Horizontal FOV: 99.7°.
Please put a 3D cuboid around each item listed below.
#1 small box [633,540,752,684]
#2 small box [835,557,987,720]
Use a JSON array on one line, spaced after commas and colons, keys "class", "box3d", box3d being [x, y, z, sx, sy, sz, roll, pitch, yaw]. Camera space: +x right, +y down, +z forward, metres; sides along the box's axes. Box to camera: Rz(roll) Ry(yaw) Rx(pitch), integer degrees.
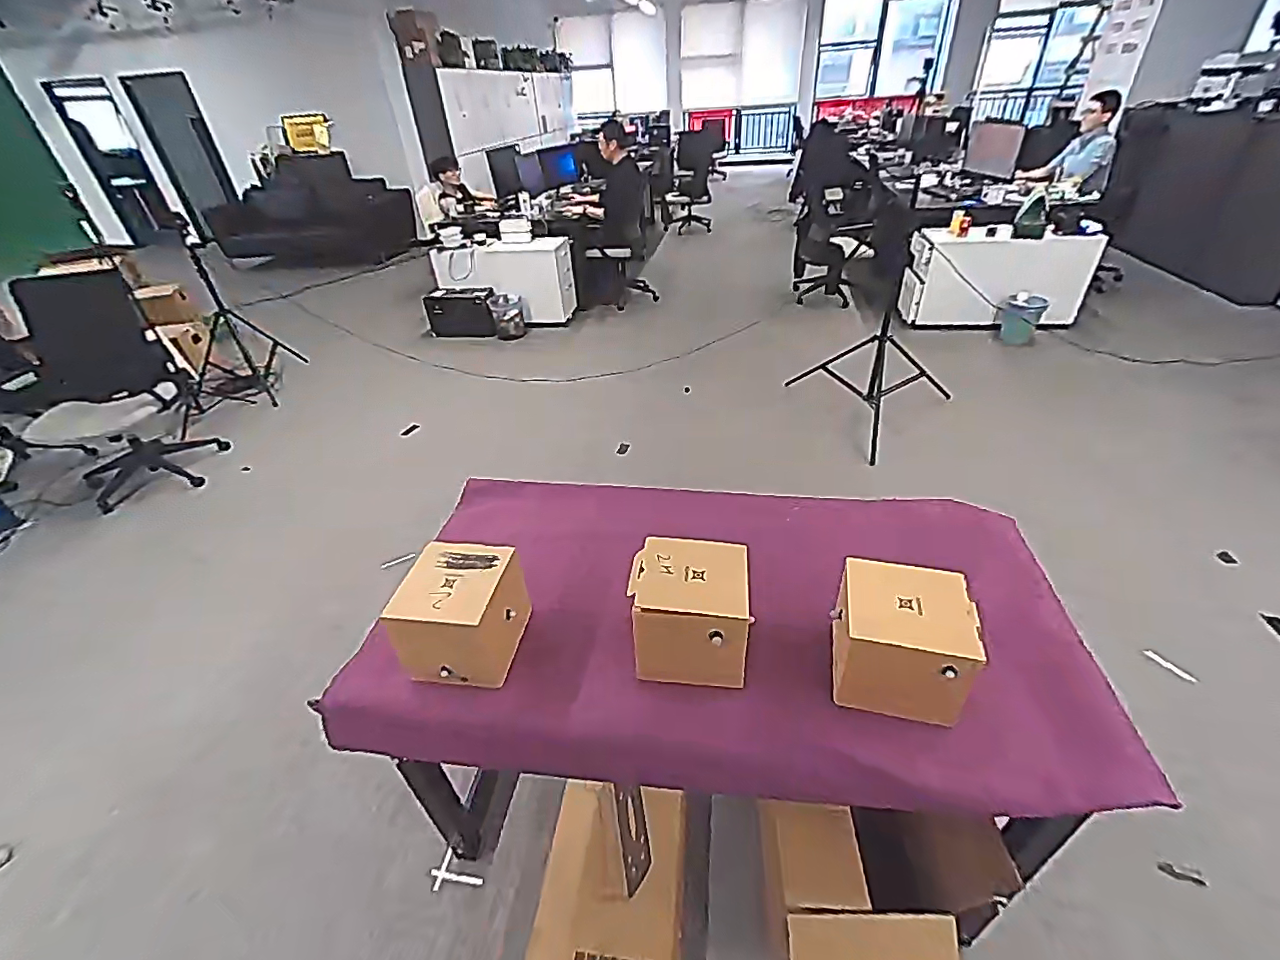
[{"class": "small box", "box3d": [0.091, 0.220, 0.905, 0.179, 0.176, 0.168, 1, 34, 8]}, {"class": "small box", "box3d": [0.402, 0.244, 0.840, 0.179, 0.176, 0.168, 6, 37, 14]}]
